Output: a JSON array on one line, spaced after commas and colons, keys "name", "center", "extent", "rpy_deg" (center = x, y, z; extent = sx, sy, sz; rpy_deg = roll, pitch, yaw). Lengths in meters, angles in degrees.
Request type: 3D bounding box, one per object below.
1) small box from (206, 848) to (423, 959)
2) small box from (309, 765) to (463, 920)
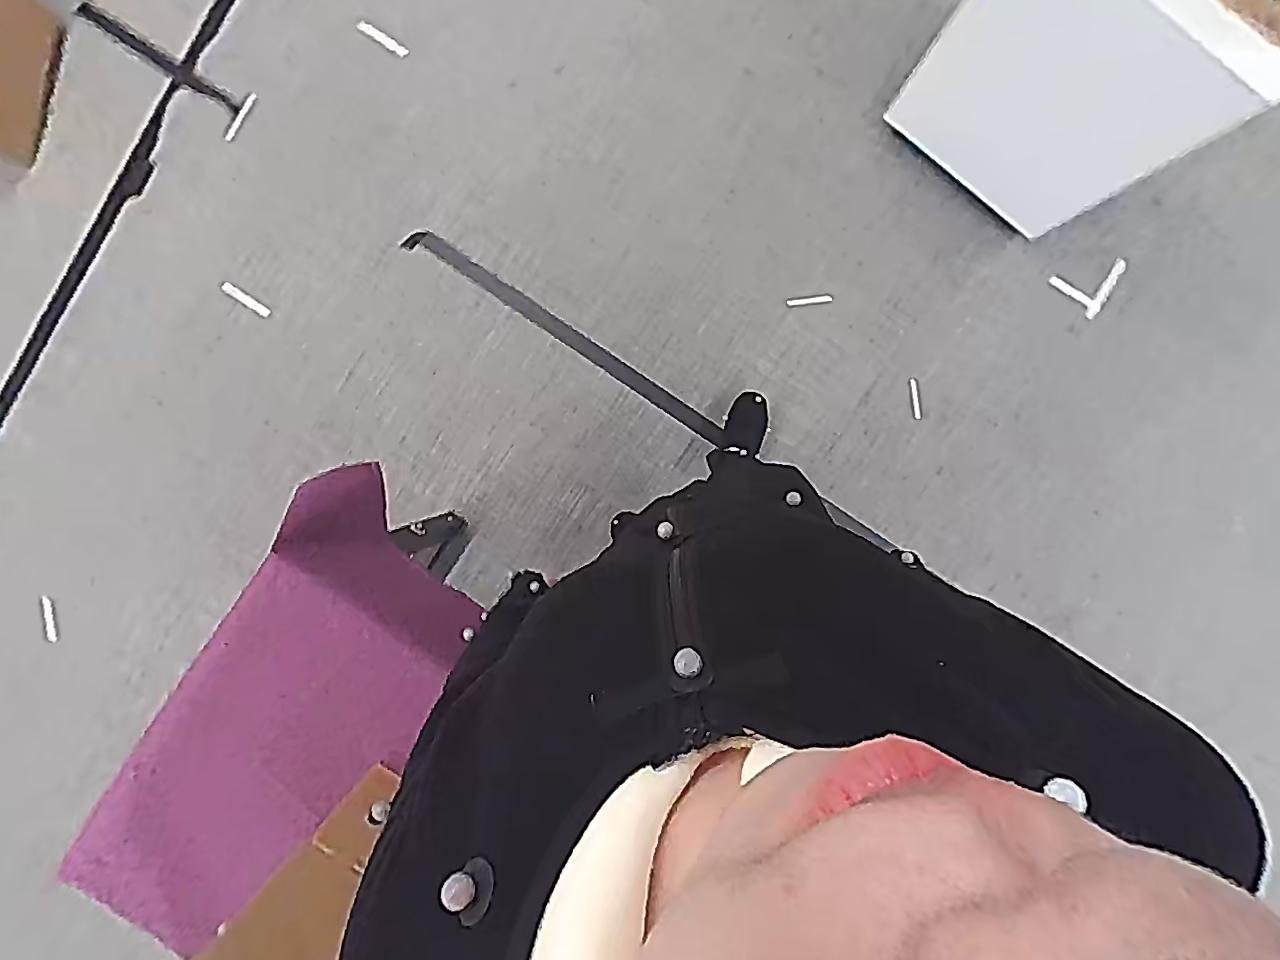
[{"name": "small box", "center": [-0.366, 0.543, 0.569], "extent": [0.179, 0.176, 0.168], "rpy_deg": [32, 93, 0]}, {"name": "small box", "center": [-0.366, 0.535, 0.733], "extent": [0.168, 0.176, 0.179], "rpy_deg": [33, 94, 0]}]
